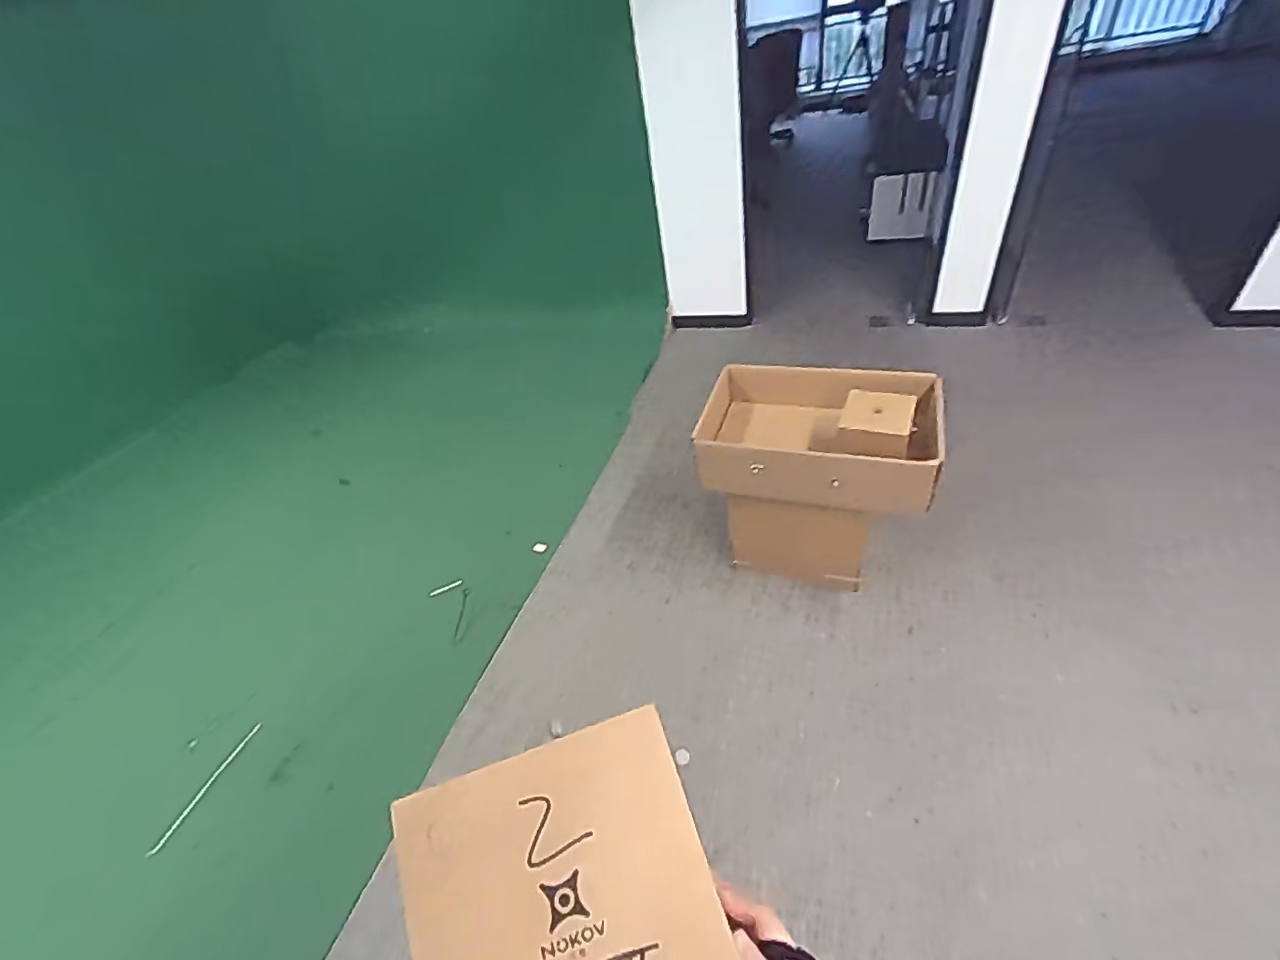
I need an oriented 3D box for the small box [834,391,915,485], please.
[{"bbox_3d":[0.618,-0.113,1.433,0.168,0.176,0.179,11,45,26],"label":"small box"}]
